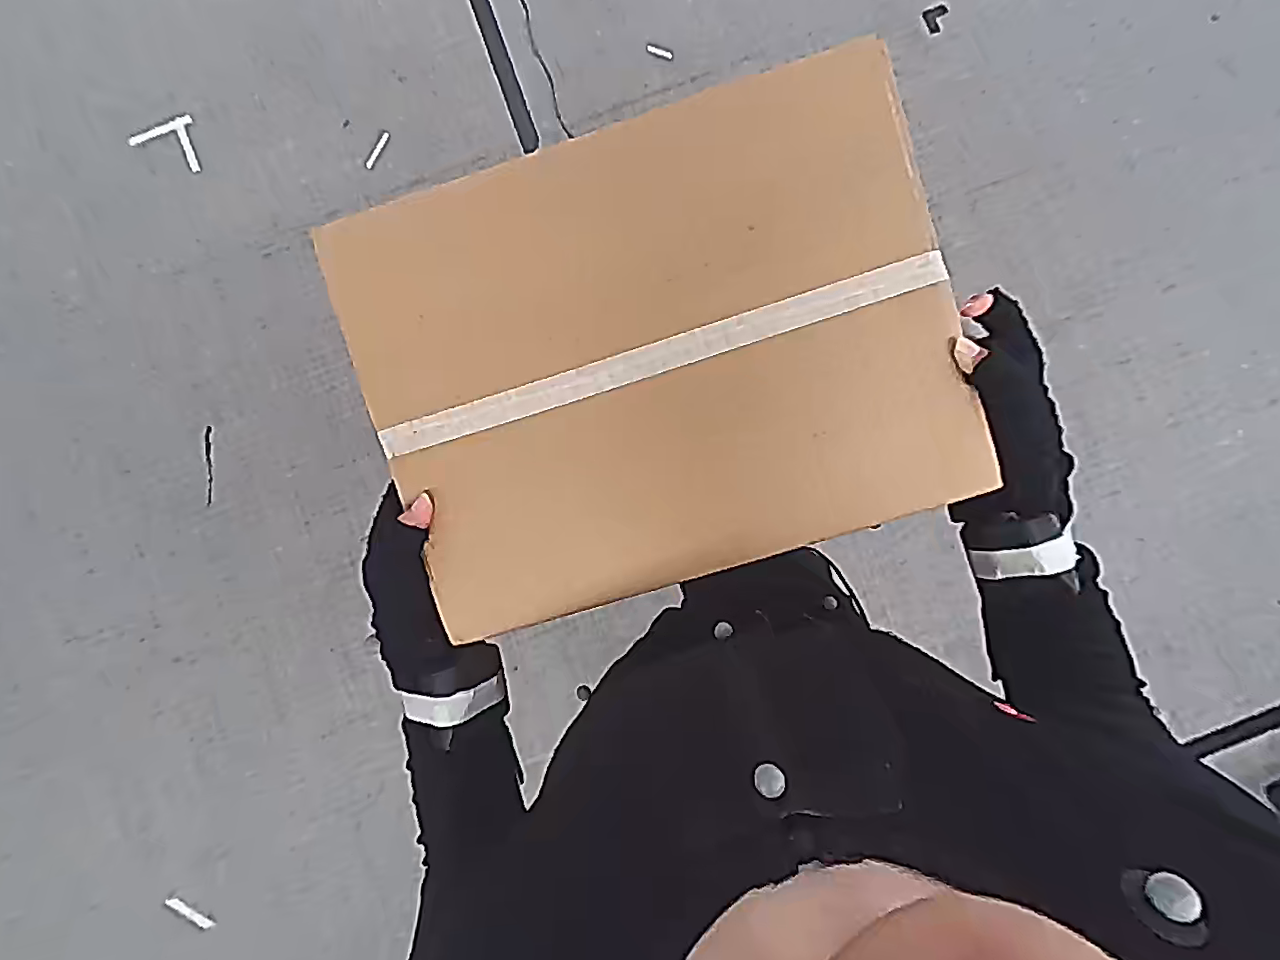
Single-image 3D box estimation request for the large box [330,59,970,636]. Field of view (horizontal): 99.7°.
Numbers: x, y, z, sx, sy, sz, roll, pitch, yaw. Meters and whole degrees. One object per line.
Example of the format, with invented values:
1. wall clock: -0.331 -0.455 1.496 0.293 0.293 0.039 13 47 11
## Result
1. large box: 0.013 -0.097 0.538 0.408 0.320 0.320 -17 93 4
